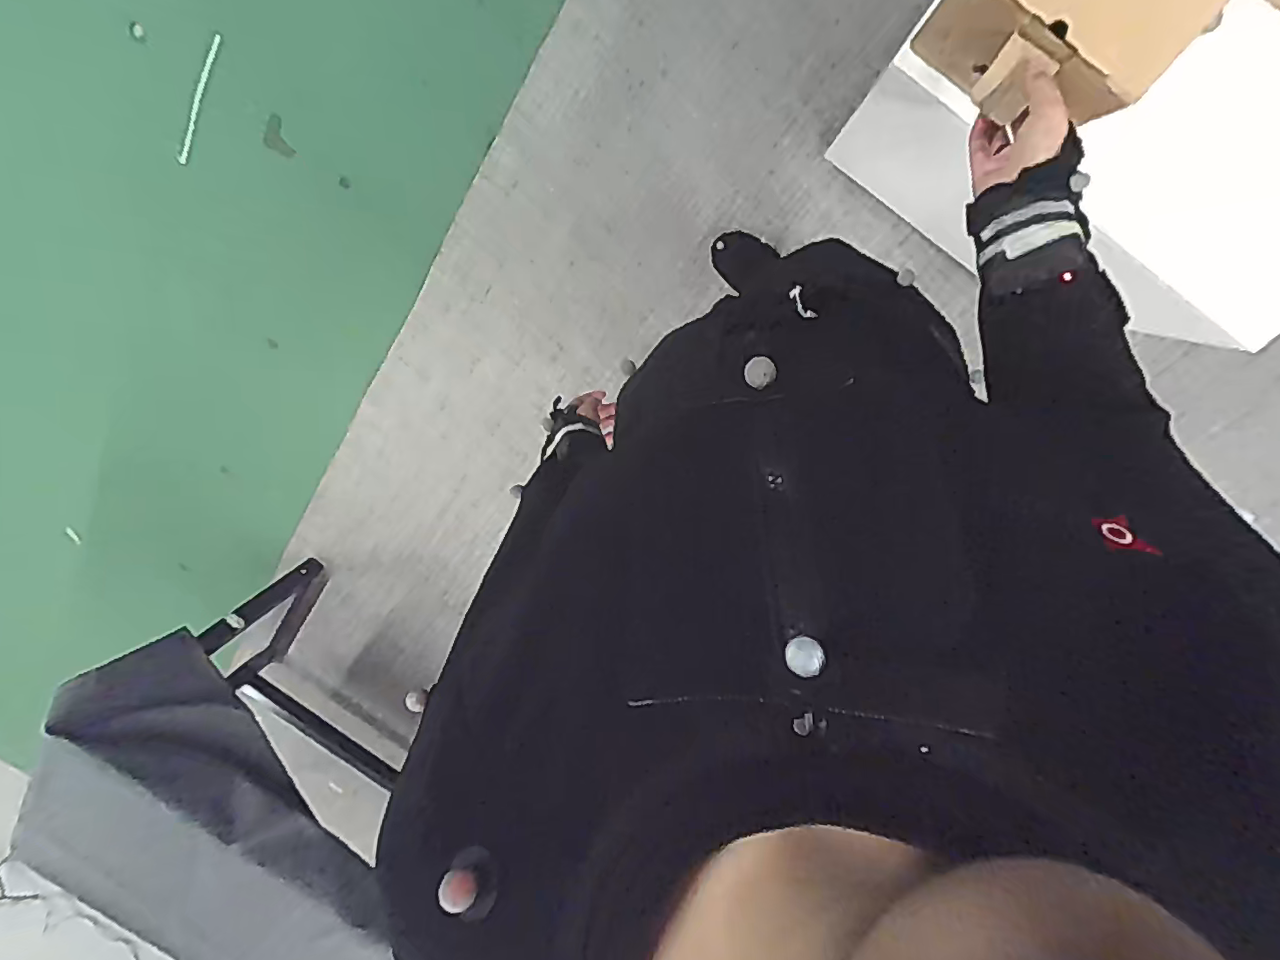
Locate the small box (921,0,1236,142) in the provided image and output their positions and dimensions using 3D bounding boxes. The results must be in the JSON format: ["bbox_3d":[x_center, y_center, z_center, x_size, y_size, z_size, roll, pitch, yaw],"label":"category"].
[{"bbox_3d":[0.371,-0.421,0.441,0.168,0.176,0.179,36,113,-4],"label":"small box"}]
